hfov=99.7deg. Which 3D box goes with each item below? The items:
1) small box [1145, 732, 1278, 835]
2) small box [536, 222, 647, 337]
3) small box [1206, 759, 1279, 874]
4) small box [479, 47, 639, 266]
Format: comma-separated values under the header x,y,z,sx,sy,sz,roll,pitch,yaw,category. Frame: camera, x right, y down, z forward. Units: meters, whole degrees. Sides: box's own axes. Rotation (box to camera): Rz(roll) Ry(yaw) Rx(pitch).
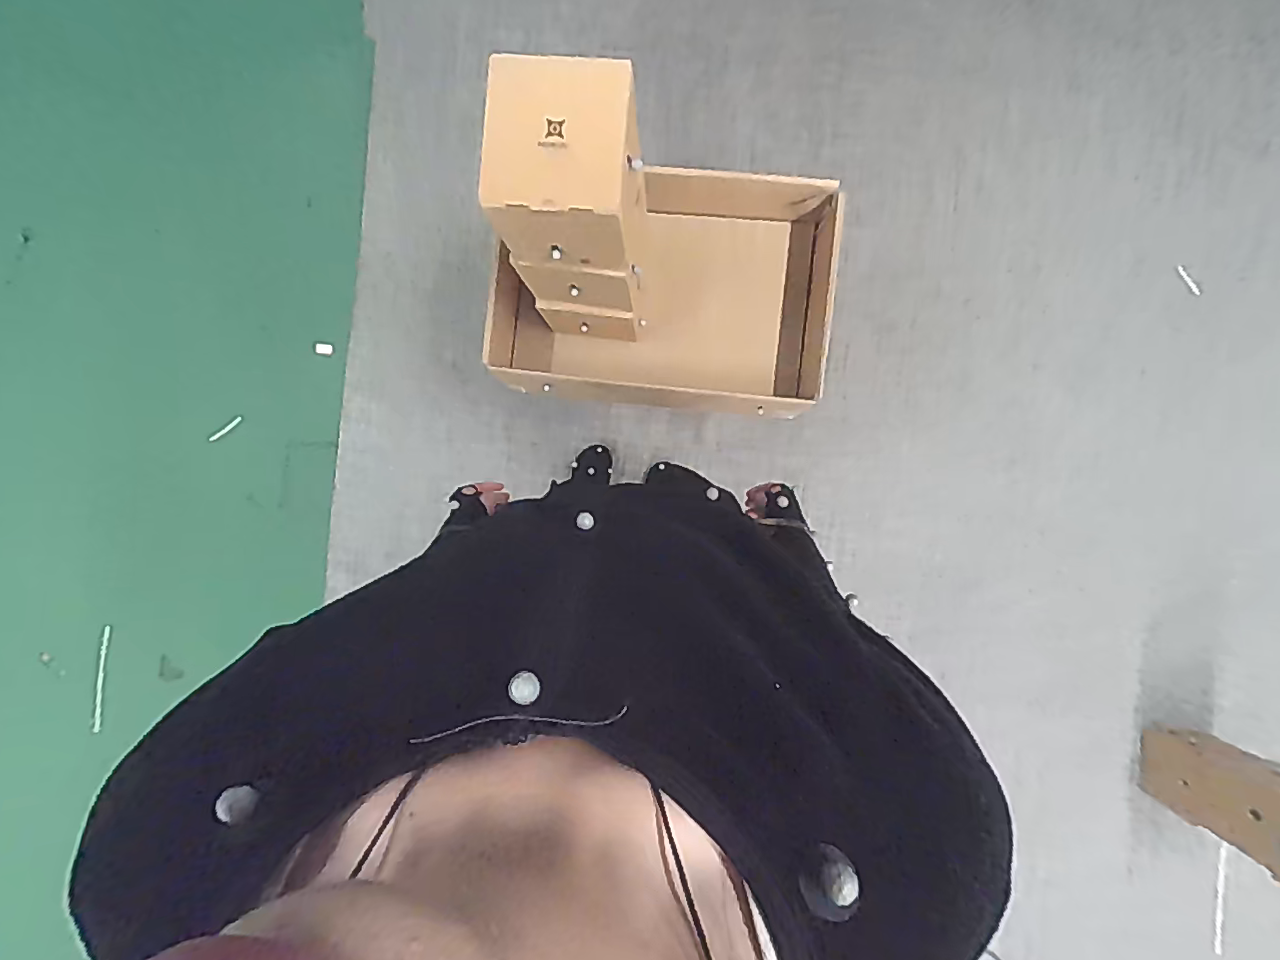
x,y,z,sx,sy,sz,roll,pitch,yaw,category
1.418,0.753,1.349,0.168,0.176,0.179,4,90,4,small box
-0.082,-0.376,1.017,0.179,0.176,0.168,8,90,3,small box
1.410,0.741,1.186,0.168,0.176,0.179,5,90,4,small box
-0.092,-0.398,0.691,0.168,0.176,0.179,5,90,3,small box
